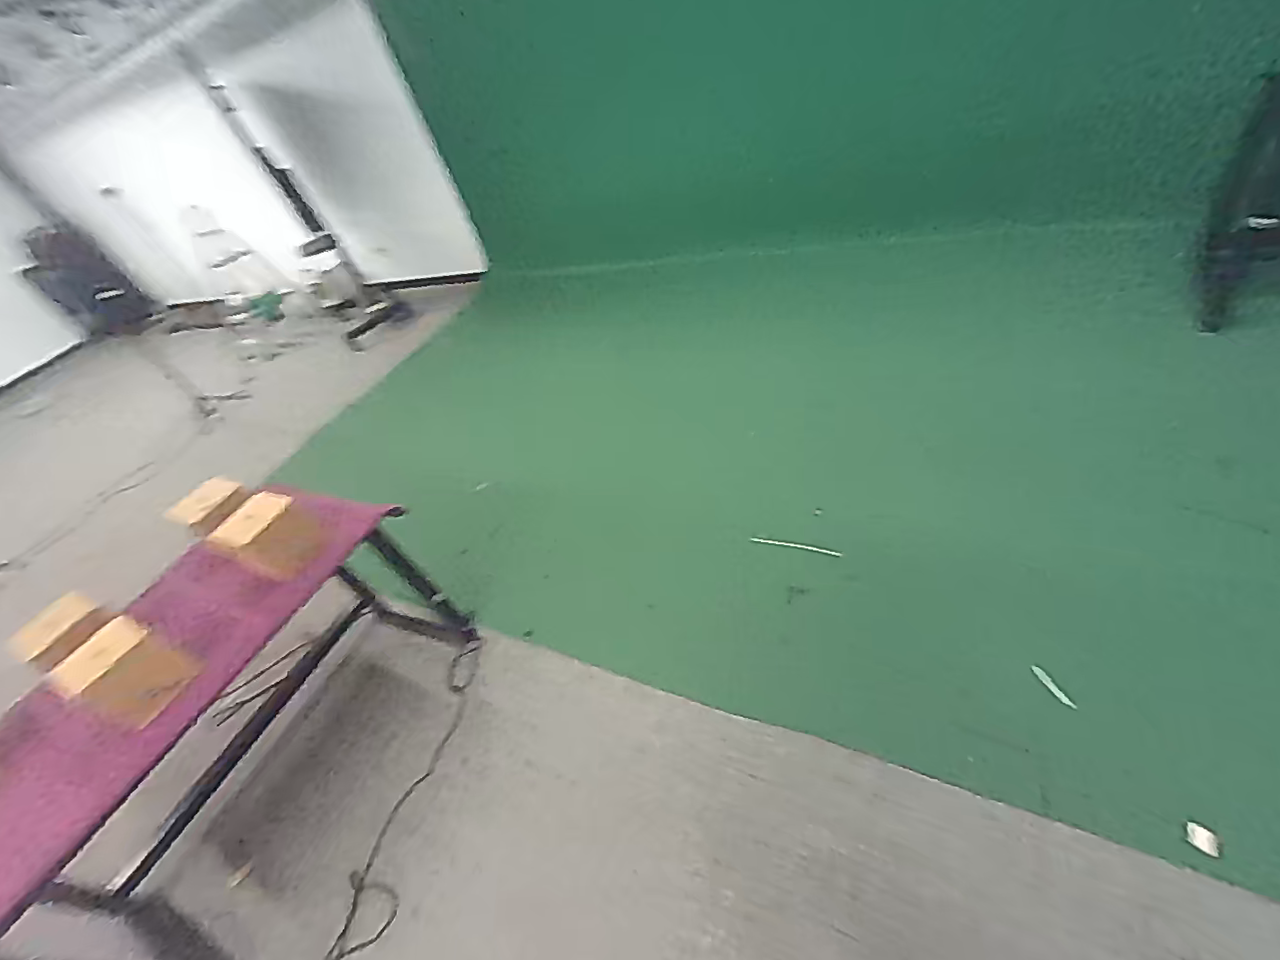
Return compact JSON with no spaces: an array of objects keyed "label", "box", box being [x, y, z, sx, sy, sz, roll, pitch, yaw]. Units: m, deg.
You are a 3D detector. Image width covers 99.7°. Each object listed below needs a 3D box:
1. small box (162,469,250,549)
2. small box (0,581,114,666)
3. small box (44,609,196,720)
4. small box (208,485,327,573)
[{"label":"small box","box":[-1.287,0.089,1.655,0.179,0.176,0.168,10,51,29]},{"label":"small box","box":[-1.483,0.397,1.417,0.179,0.176,0.168,12,52,29]},{"label":"small box","box":[-1.214,0.436,1.273,0.179,0.176,0.168,10,50,30]},{"label":"small box","box":[-1.027,0.137,1.501,0.179,0.176,0.168,8,51,28]}]
